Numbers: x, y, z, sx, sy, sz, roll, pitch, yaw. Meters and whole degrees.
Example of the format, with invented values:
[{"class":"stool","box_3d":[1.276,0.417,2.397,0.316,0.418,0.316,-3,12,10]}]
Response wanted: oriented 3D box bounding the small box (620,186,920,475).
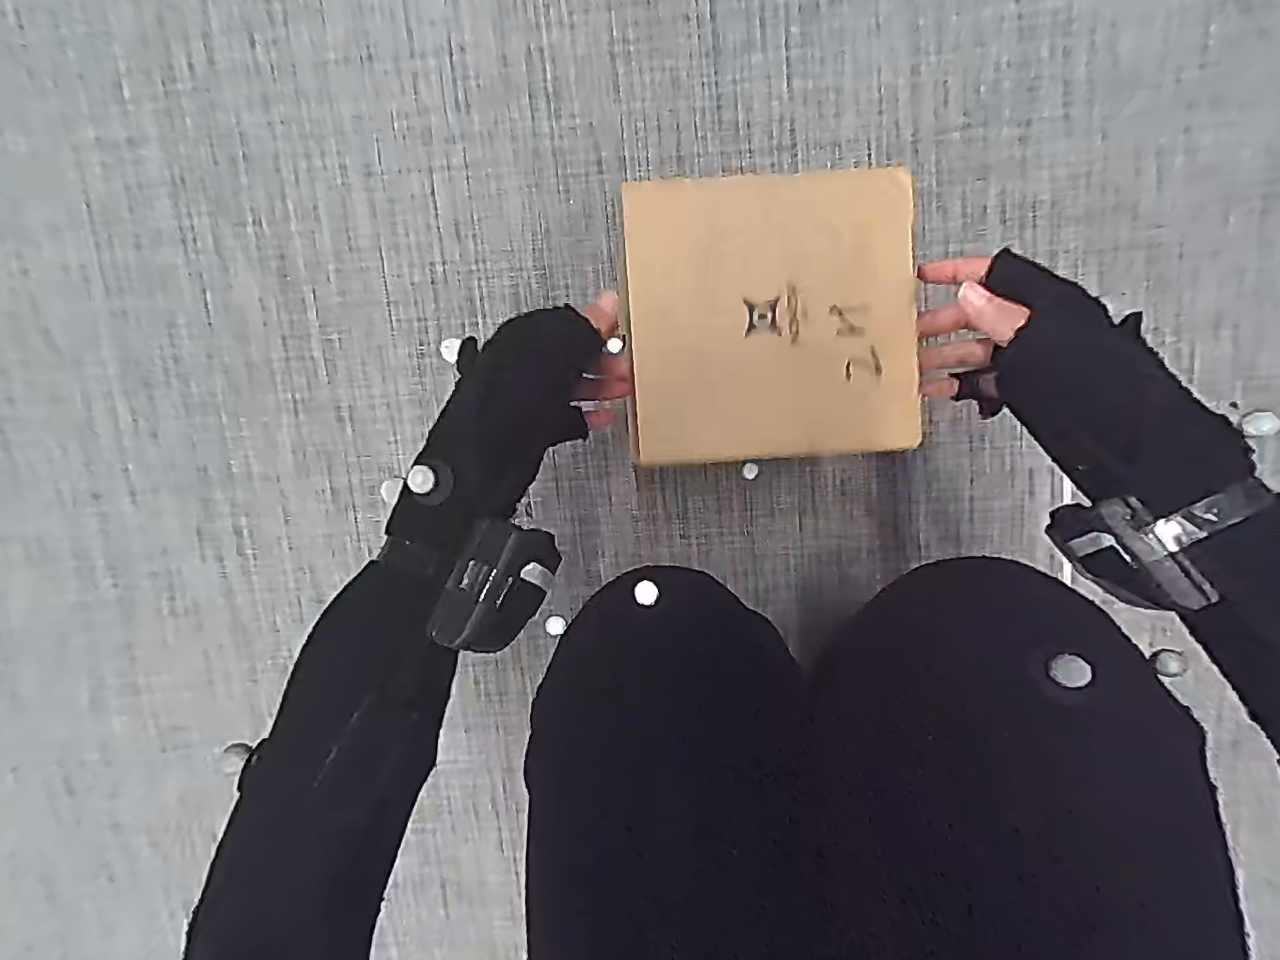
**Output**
[{"class":"small box","box_3d":[0.077,-0.099,0.402,0.179,0.176,0.168,-4,100,-3]}]
